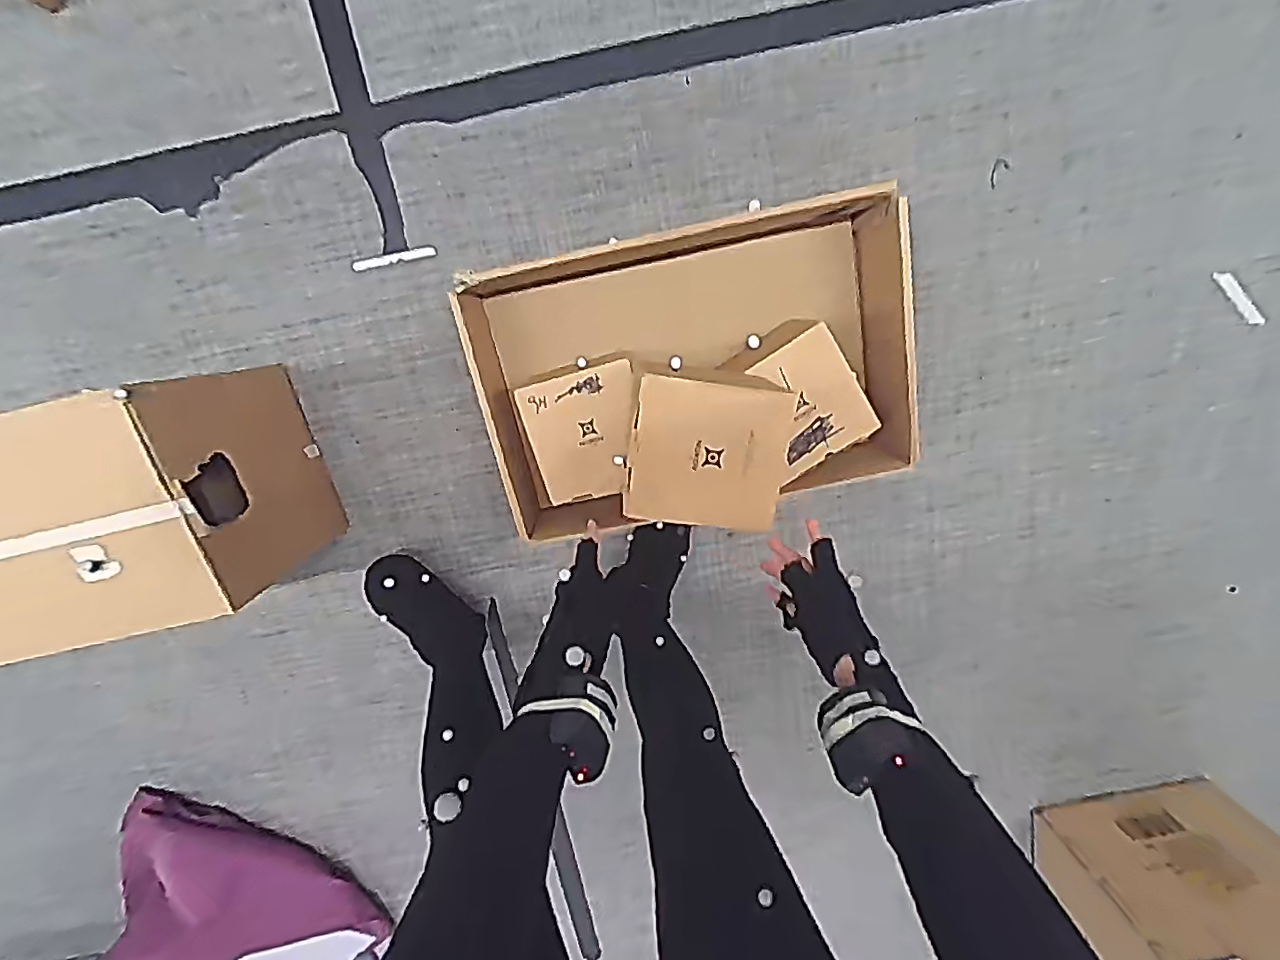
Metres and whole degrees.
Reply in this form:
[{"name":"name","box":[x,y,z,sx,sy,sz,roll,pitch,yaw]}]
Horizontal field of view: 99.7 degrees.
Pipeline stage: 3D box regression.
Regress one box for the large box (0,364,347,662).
[{"name":"large box","box":[-0.761,0.026,0.829,0.408,0.320,0.320,-13,107,2]}]

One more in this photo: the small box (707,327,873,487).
[{"name":"small box","box":[0.221,-0.122,0.836,0.168,0.176,0.179,-32,104,9]}]
